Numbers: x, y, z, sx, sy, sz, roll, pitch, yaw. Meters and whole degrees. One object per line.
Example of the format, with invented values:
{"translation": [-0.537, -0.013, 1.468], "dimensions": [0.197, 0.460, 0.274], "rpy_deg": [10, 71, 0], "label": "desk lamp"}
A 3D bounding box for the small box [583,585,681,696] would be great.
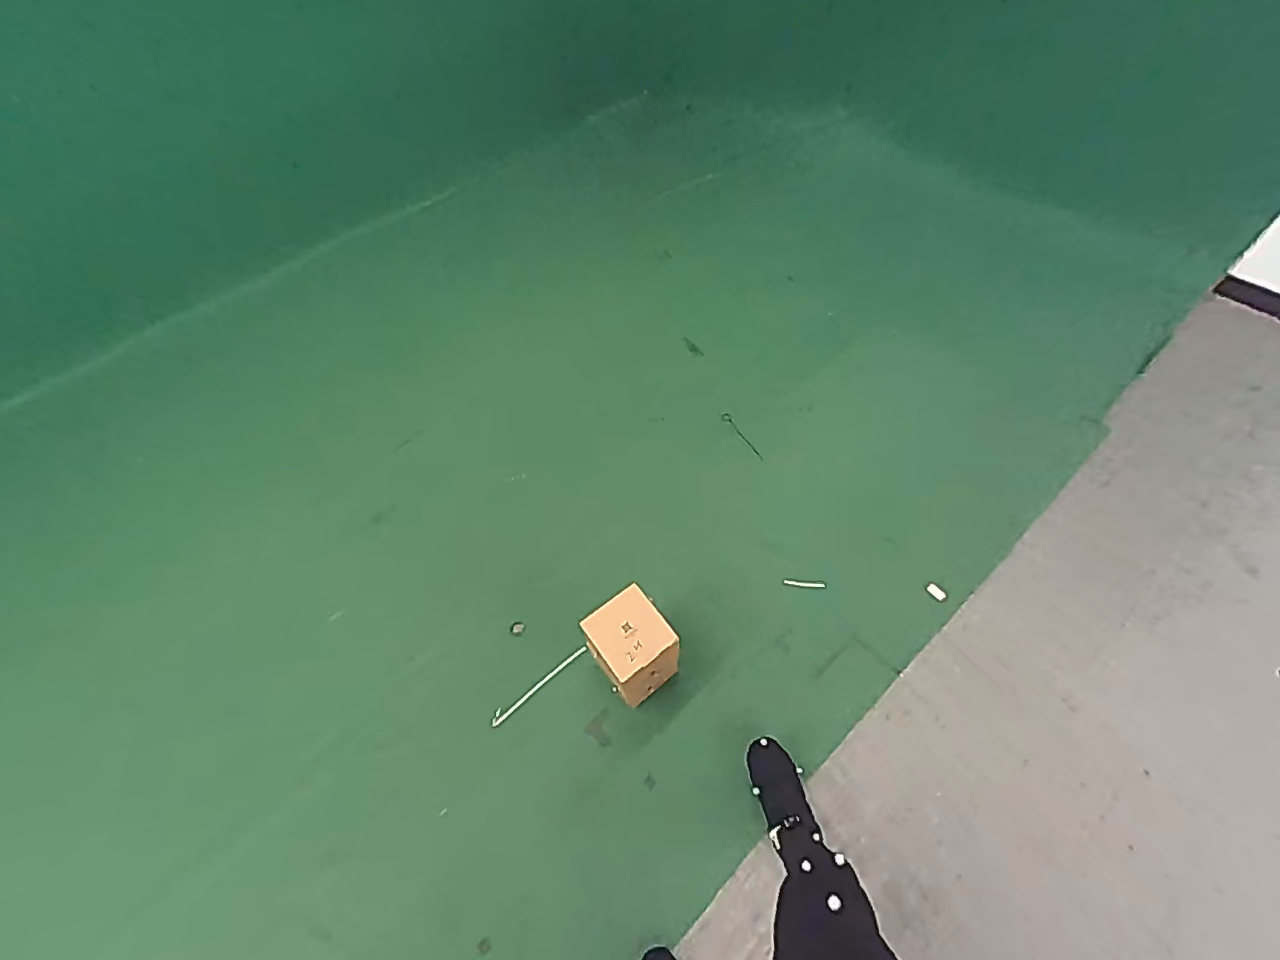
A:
{"translation": [-0.017, 0.394, 1.313], "dimensions": [0.168, 0.176, 0.179], "rpy_deg": [-33, 62, -16], "label": "small box"}

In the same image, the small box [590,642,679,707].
{"translation": [-0.013, 0.480, 1.454], "dimensions": [0.168, 0.176, 0.179], "rpy_deg": [-35, 62, -17], "label": "small box"}
